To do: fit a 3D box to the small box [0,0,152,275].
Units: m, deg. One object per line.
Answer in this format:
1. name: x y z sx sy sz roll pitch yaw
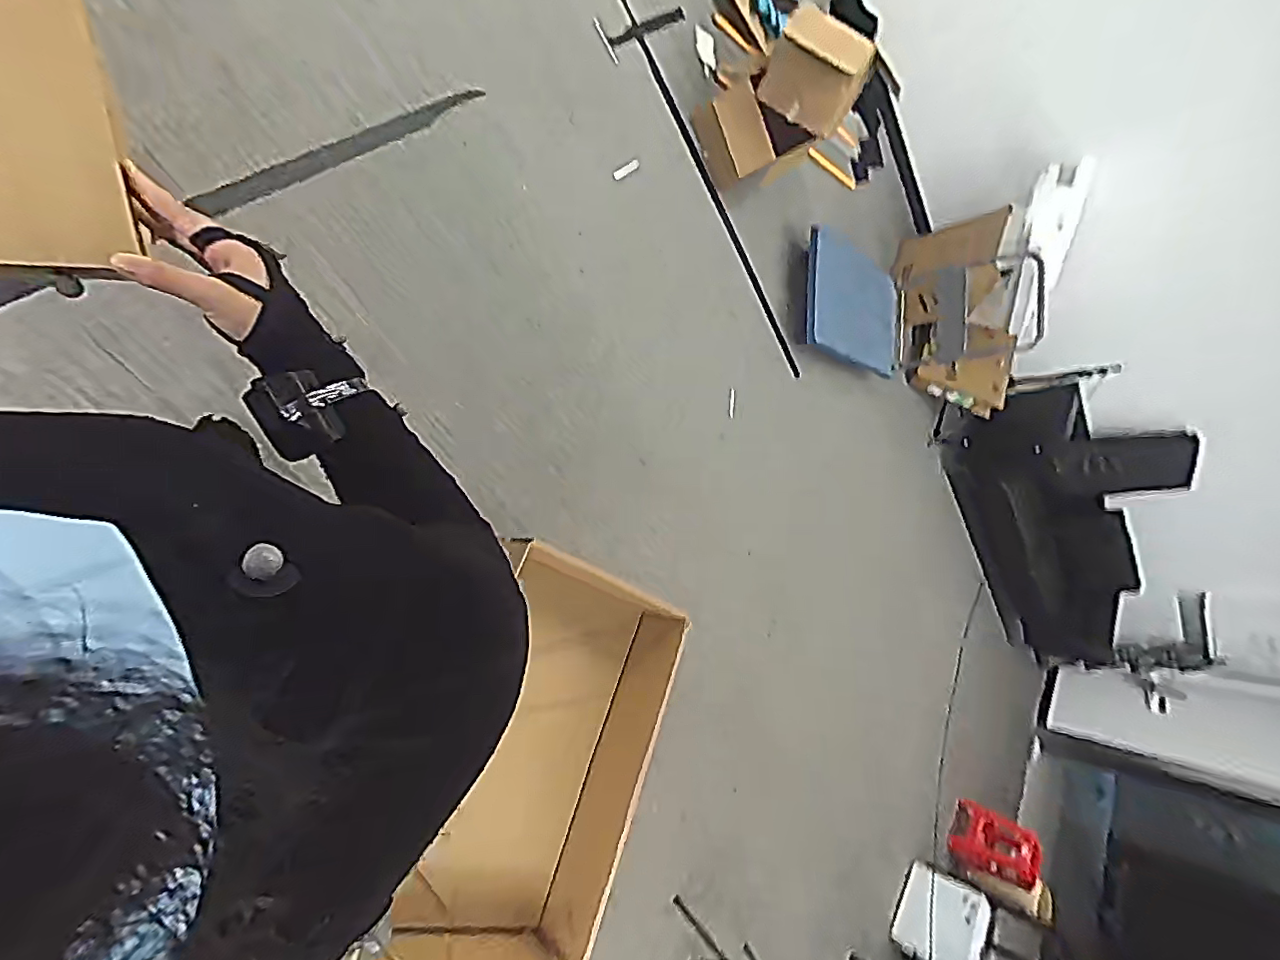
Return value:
1. small box: -0.464 -0.233 0.367 0.179 0.176 0.168 -13 111 -36
